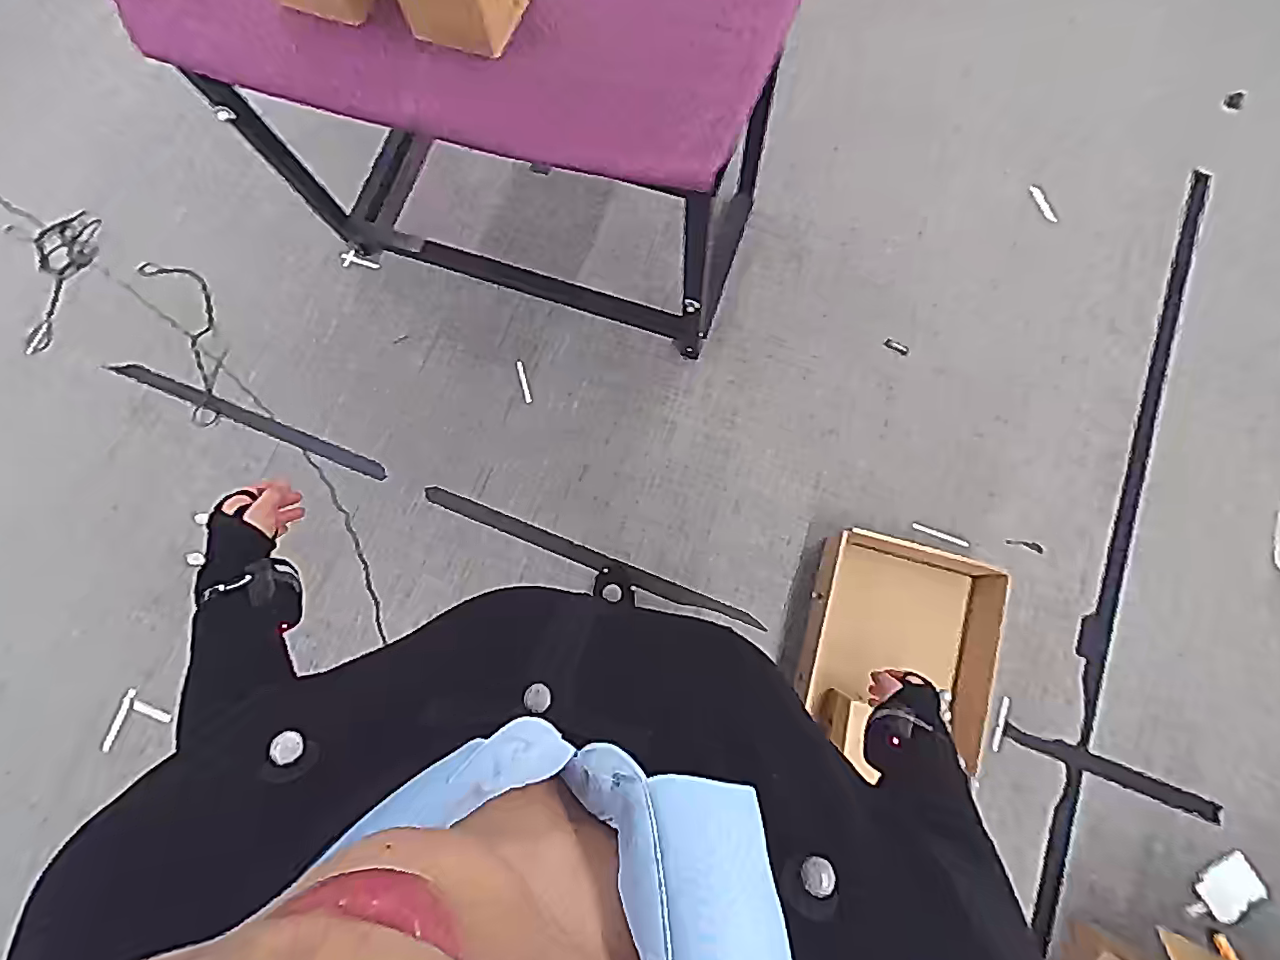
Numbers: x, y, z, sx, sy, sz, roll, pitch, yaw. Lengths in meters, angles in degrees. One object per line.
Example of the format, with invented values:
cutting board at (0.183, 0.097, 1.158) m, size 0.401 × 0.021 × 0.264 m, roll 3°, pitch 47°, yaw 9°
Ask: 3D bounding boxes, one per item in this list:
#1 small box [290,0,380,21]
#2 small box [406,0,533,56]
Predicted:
small box at (-0.570, -0.970, 0.957) m, size 0.179 × 0.176 × 0.168 m, roll 20°, pitch 81°, yaw 6°
small box at (-0.300, -0.880, 0.926) m, size 0.179 × 0.176 × 0.168 m, roll 21°, pitch 81°, yaw 8°
